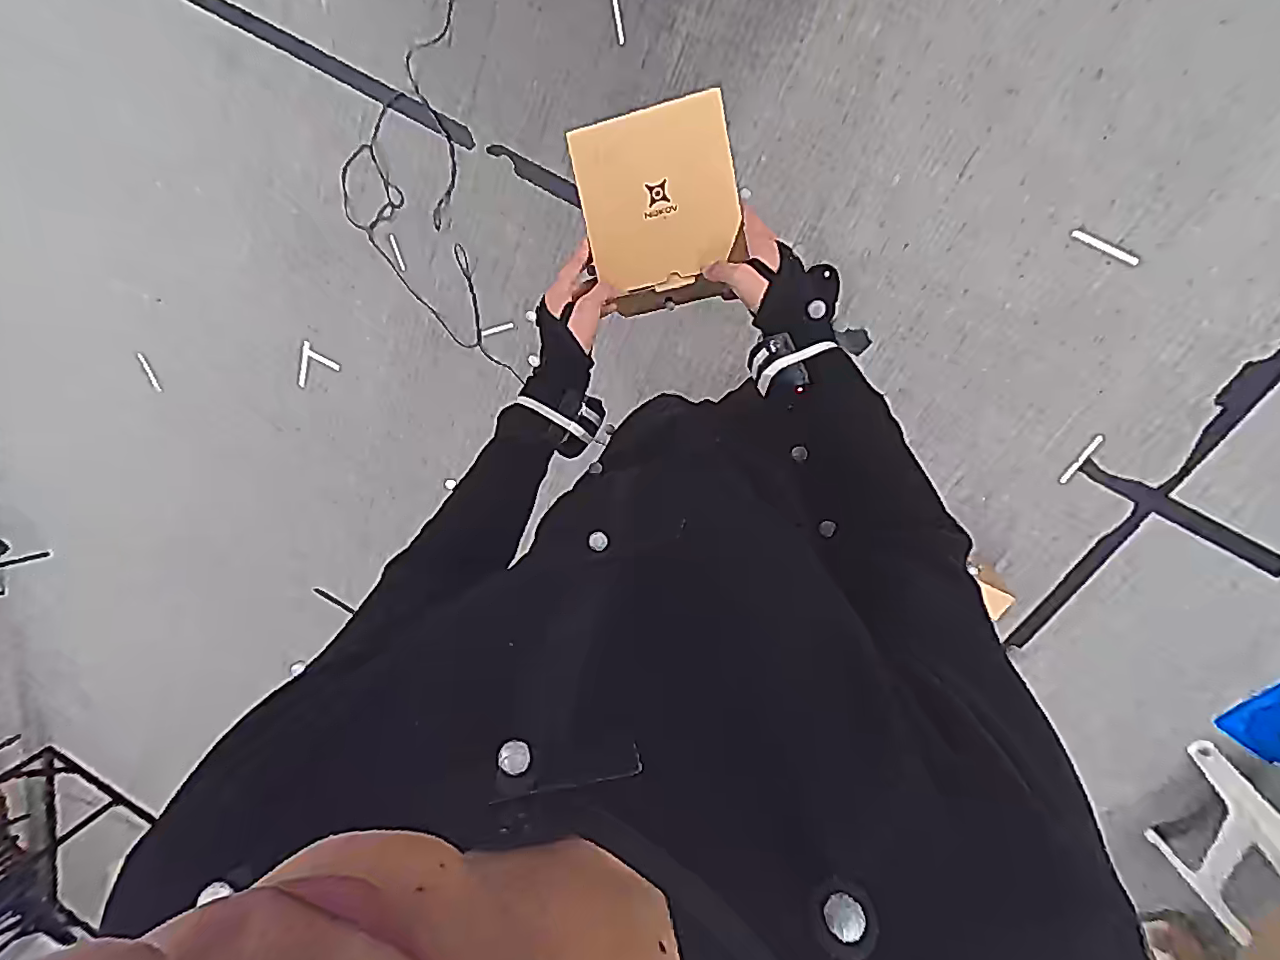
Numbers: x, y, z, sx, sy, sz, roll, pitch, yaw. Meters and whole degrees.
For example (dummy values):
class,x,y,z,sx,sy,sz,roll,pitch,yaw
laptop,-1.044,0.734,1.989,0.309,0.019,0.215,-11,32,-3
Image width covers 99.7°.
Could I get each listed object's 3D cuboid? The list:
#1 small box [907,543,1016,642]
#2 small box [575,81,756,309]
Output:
class,x,y,z,sx,sy,sz,roll,pitch,yaw
small box,0.851,0.291,1.455,0.179,0.176,0.168,27,115,6
small box,0.035,-0.317,0.642,0.168,0.176,0.179,-11,100,9
